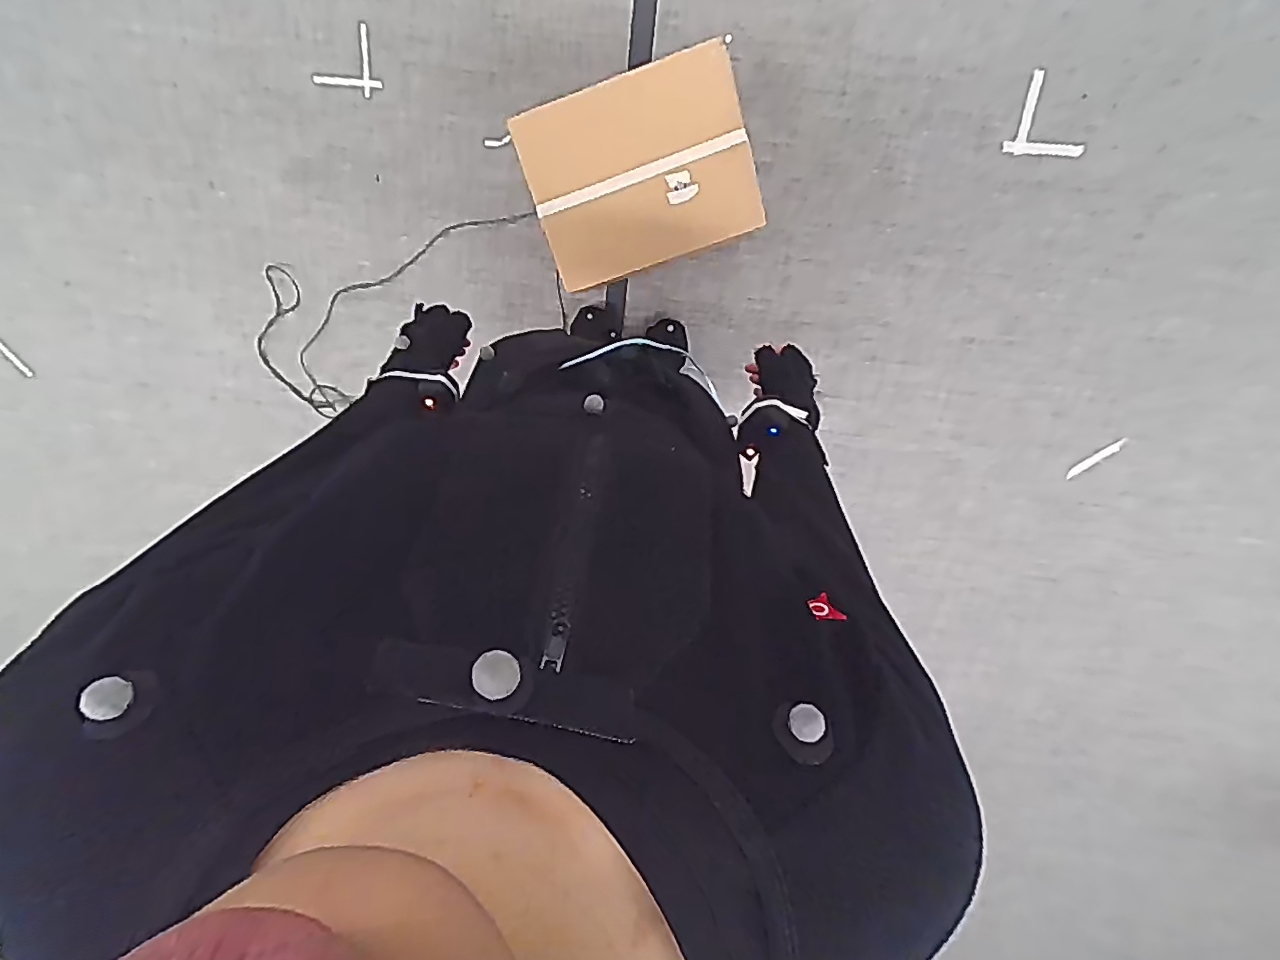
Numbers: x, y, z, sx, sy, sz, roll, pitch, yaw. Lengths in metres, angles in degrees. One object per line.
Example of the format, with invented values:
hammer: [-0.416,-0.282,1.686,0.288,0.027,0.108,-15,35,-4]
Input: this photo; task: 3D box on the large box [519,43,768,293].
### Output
large box: [0.011,-0.611,1.142,0.408,0.320,0.320,-16,109,6]
